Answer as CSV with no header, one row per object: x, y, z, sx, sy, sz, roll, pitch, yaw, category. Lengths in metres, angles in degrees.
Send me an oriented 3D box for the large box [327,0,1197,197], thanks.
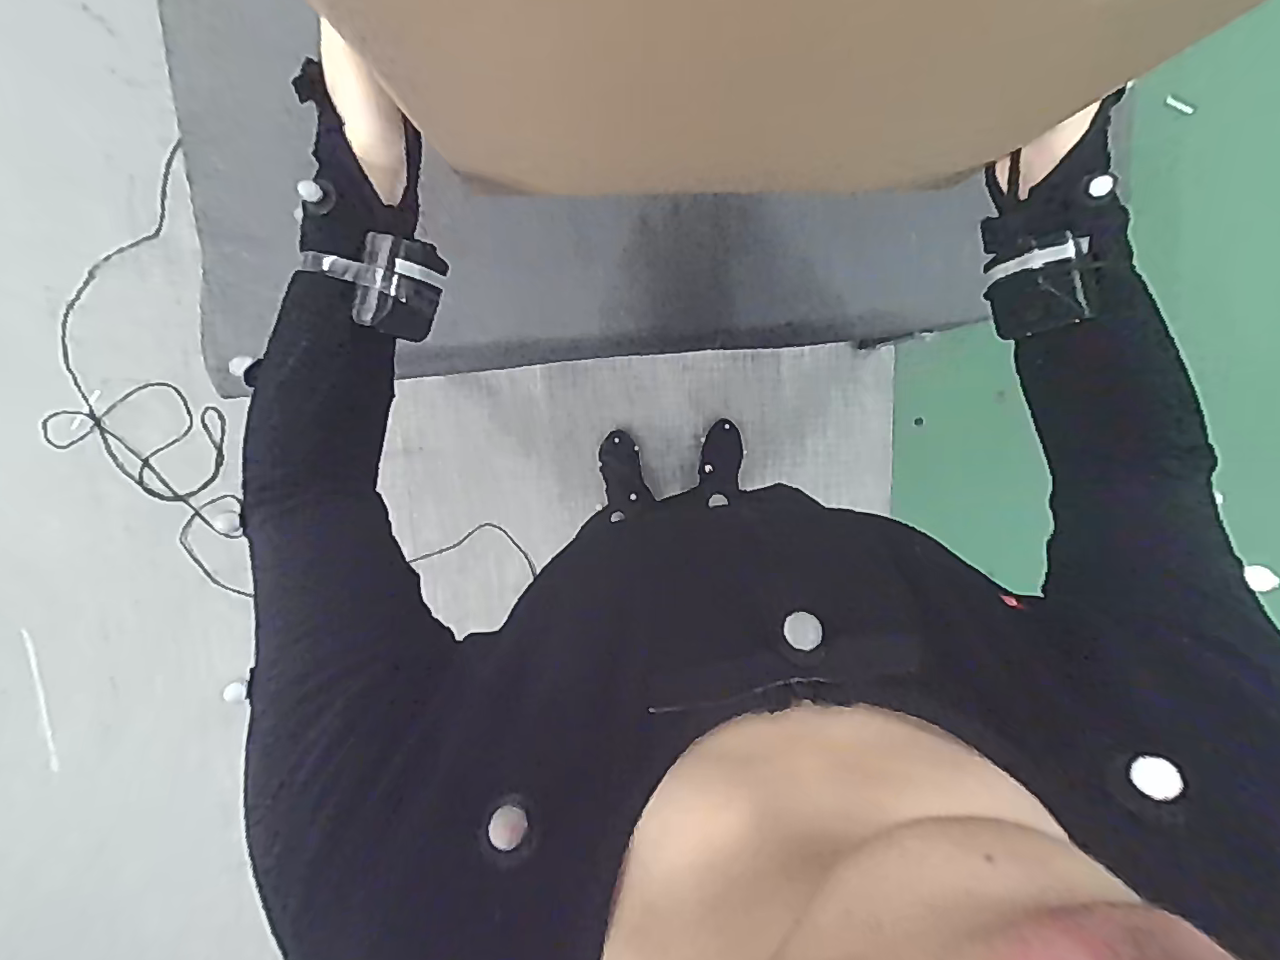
0.055,-0.369,0.285,0.408,0.320,0.320,-2,102,-1,large box
